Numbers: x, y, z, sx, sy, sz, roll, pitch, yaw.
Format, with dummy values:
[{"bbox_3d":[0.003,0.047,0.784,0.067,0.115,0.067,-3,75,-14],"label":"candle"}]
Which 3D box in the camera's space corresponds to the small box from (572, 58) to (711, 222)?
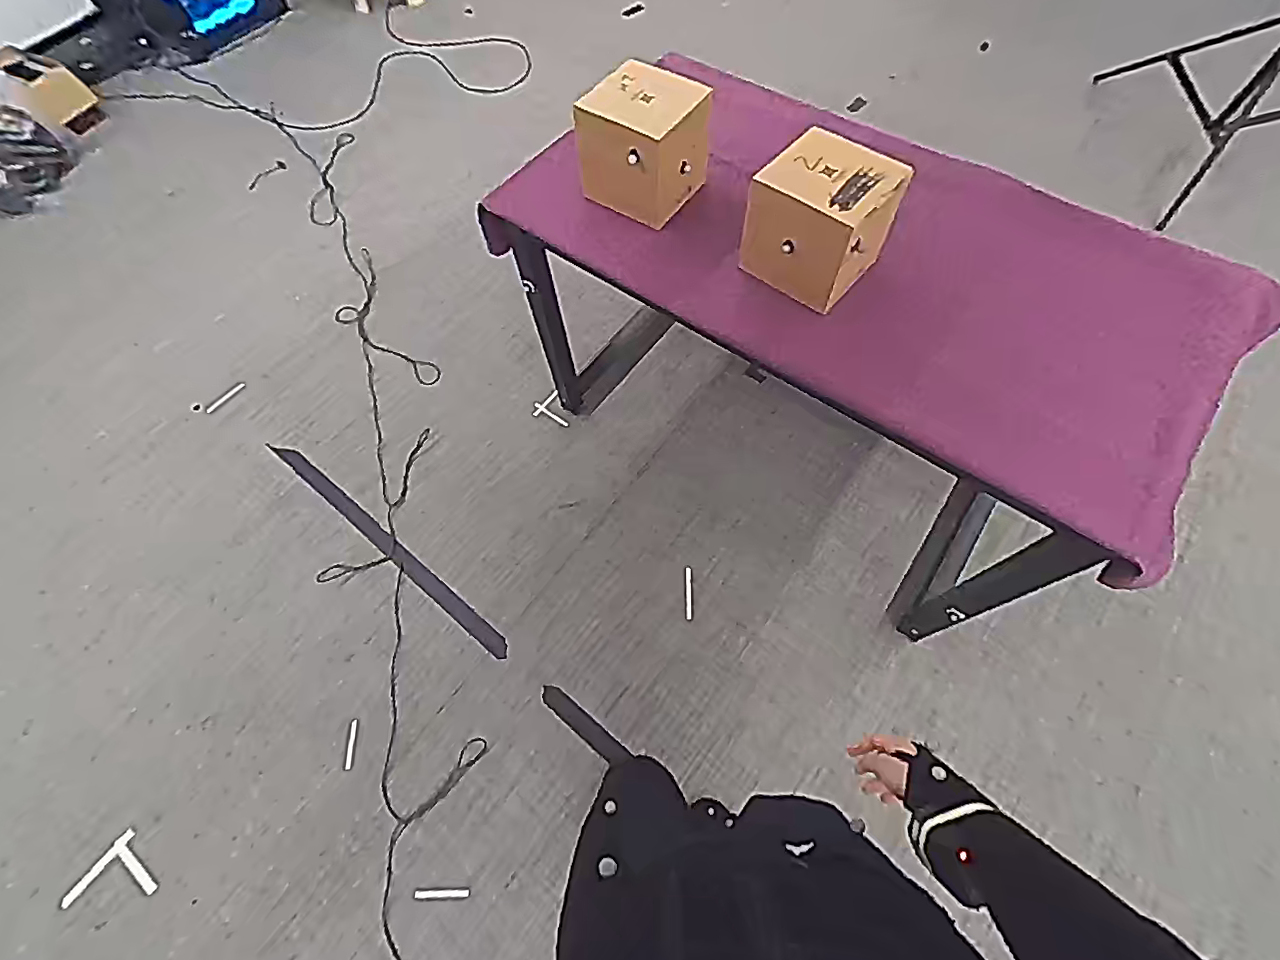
[{"bbox_3d":[0.006,-0.595,0.960,0.179,0.176,0.168,32,68,16],"label":"small box"}]
